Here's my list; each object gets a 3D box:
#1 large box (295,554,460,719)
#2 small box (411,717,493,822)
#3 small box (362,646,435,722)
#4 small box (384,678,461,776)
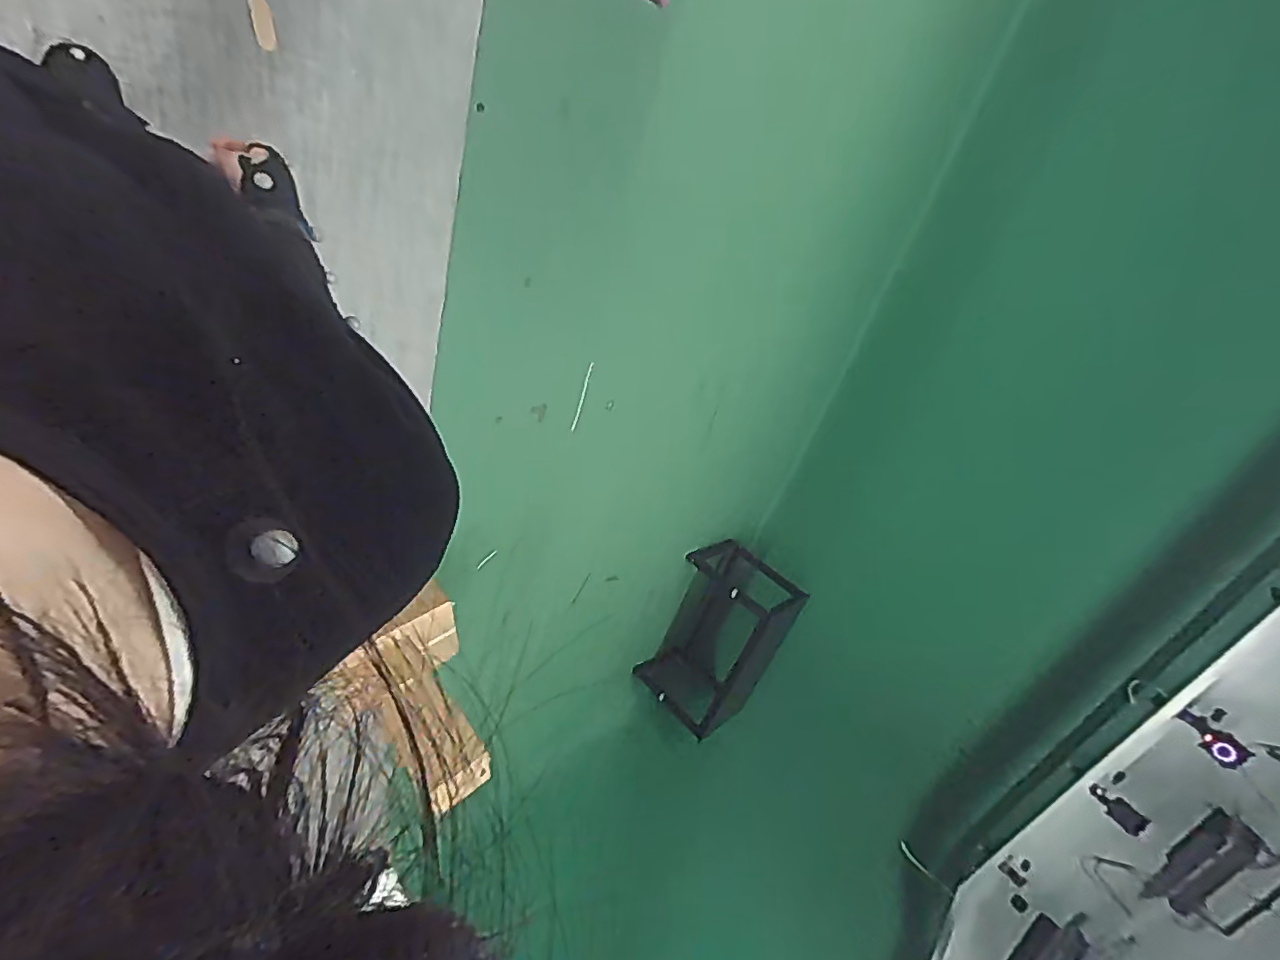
[{"bbox_3d":[-0.908,0.536,1.904,0.408,0.320,0.320,-28,141,-37],"label":"large box"},{"bbox_3d":[-0.549,0.835,1.571,0.179,0.176,0.168,-25,138,-36],"label":"small box"},{"bbox_3d":[-0.771,0.664,1.742,0.168,0.176,0.179,-25,139,-37],"label":"small box"},{"bbox_3d":[-0.662,0.750,1.655,0.179,0.176,0.168,-27,139,-36],"label":"small box"}]
